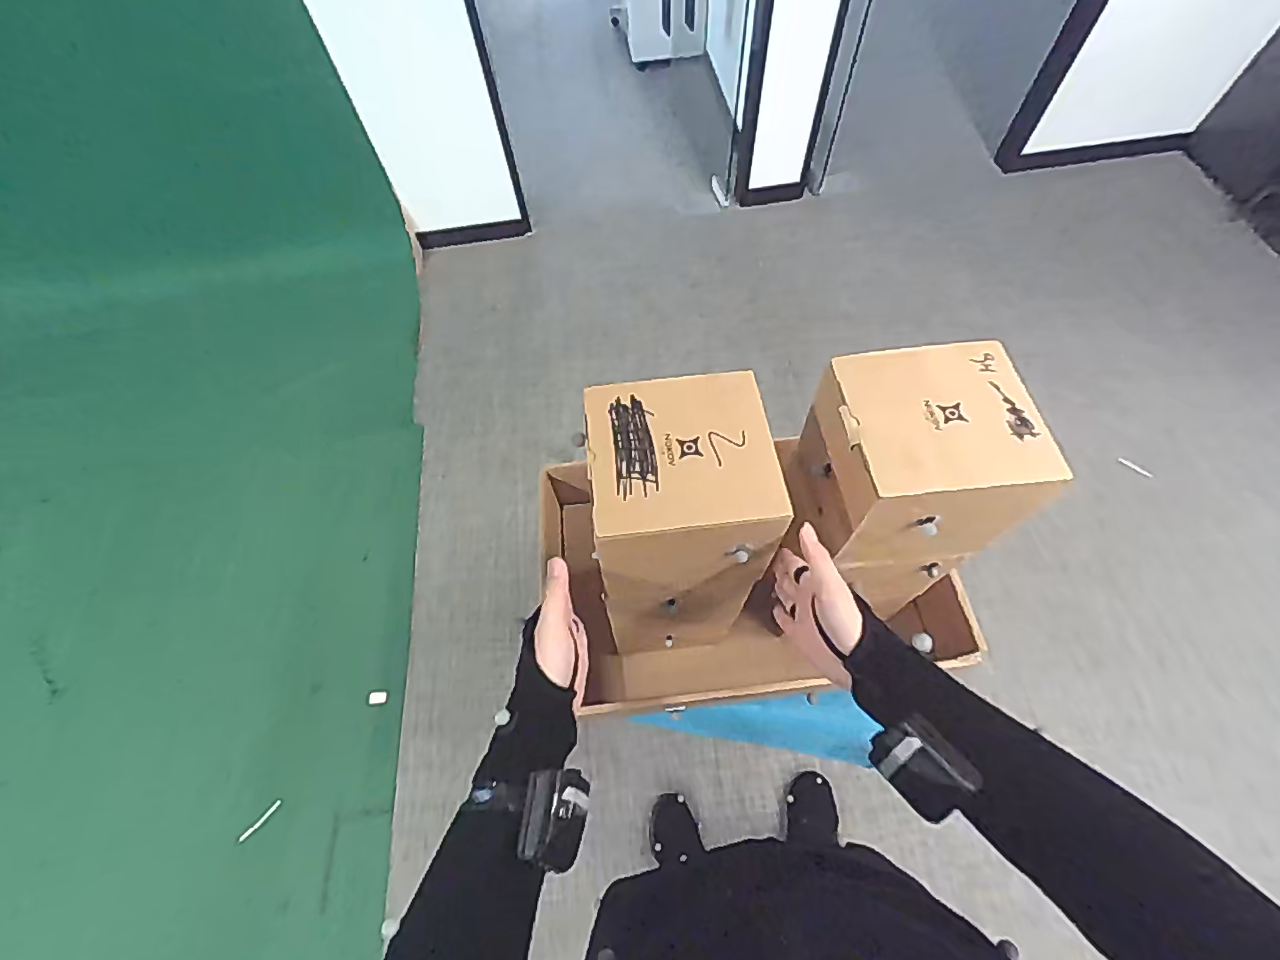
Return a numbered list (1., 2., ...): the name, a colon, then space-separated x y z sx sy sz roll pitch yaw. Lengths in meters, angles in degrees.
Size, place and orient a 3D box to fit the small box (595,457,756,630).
1. small box: 0.041 0.090 0.714 0.179 0.176 0.168 -7 61 -2
